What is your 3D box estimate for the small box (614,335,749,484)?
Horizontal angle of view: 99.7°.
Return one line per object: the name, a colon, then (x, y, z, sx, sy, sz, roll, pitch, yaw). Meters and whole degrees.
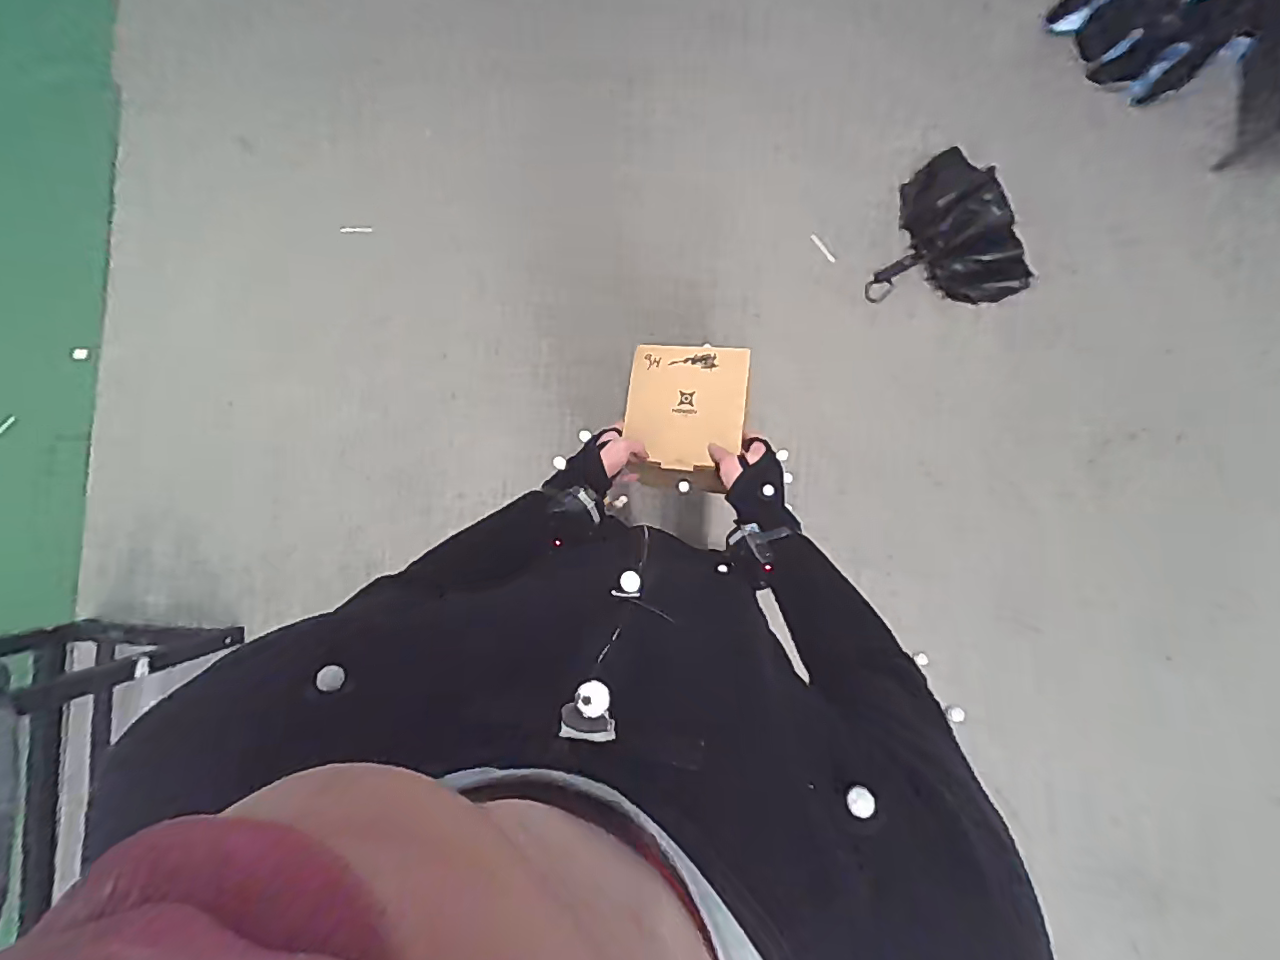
small box: (0.070, -0.095, 0.800, 0.168, 0.176, 0.179, 5, 80, 12)
